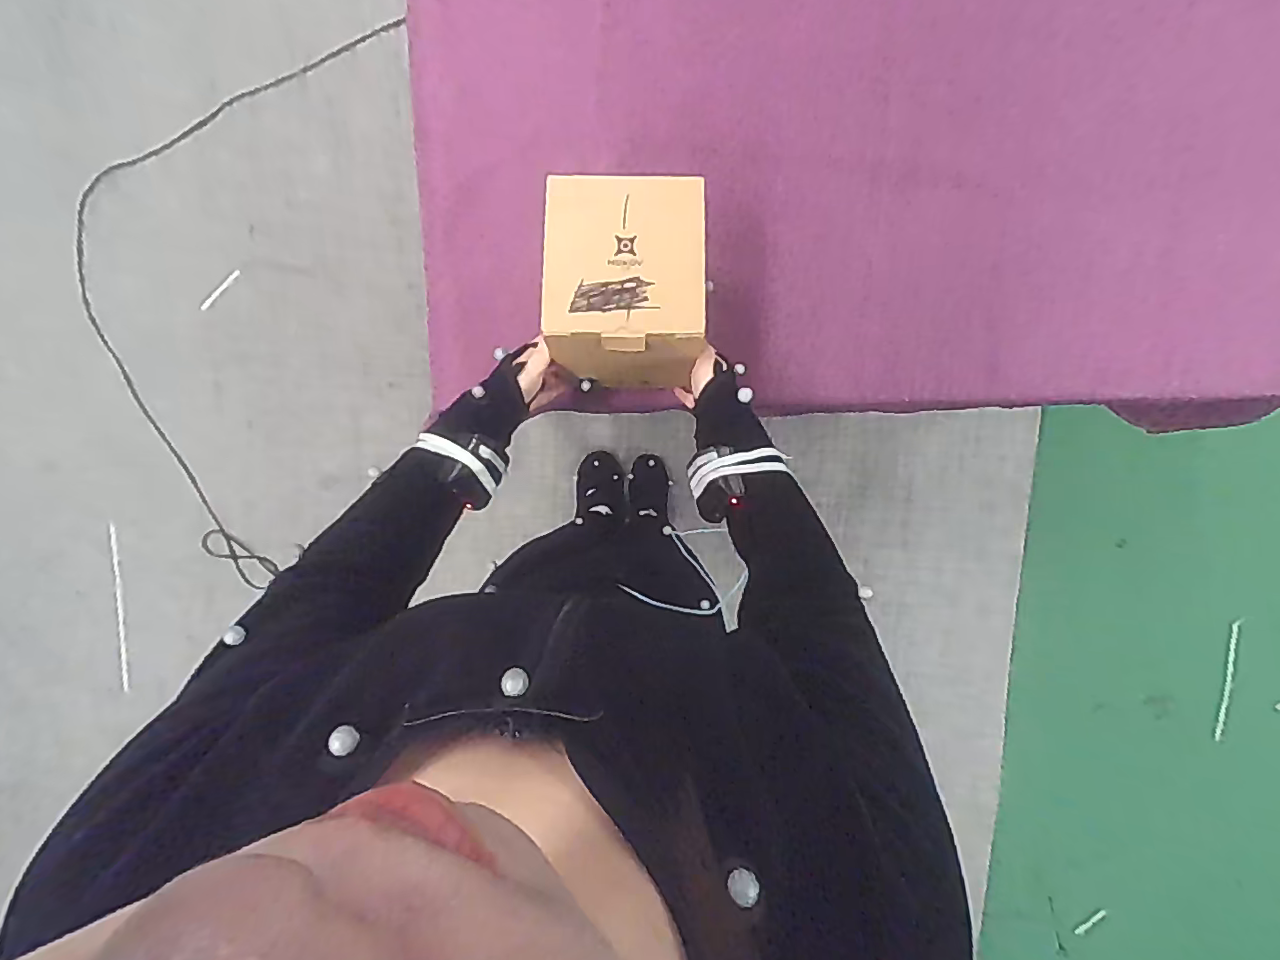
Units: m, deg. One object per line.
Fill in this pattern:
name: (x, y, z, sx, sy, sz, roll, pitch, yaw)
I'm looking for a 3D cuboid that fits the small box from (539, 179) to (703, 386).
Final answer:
small box: (-0.017, -0.215, 0.629, 0.168, 0.176, 0.179, 1, 82, 0)
